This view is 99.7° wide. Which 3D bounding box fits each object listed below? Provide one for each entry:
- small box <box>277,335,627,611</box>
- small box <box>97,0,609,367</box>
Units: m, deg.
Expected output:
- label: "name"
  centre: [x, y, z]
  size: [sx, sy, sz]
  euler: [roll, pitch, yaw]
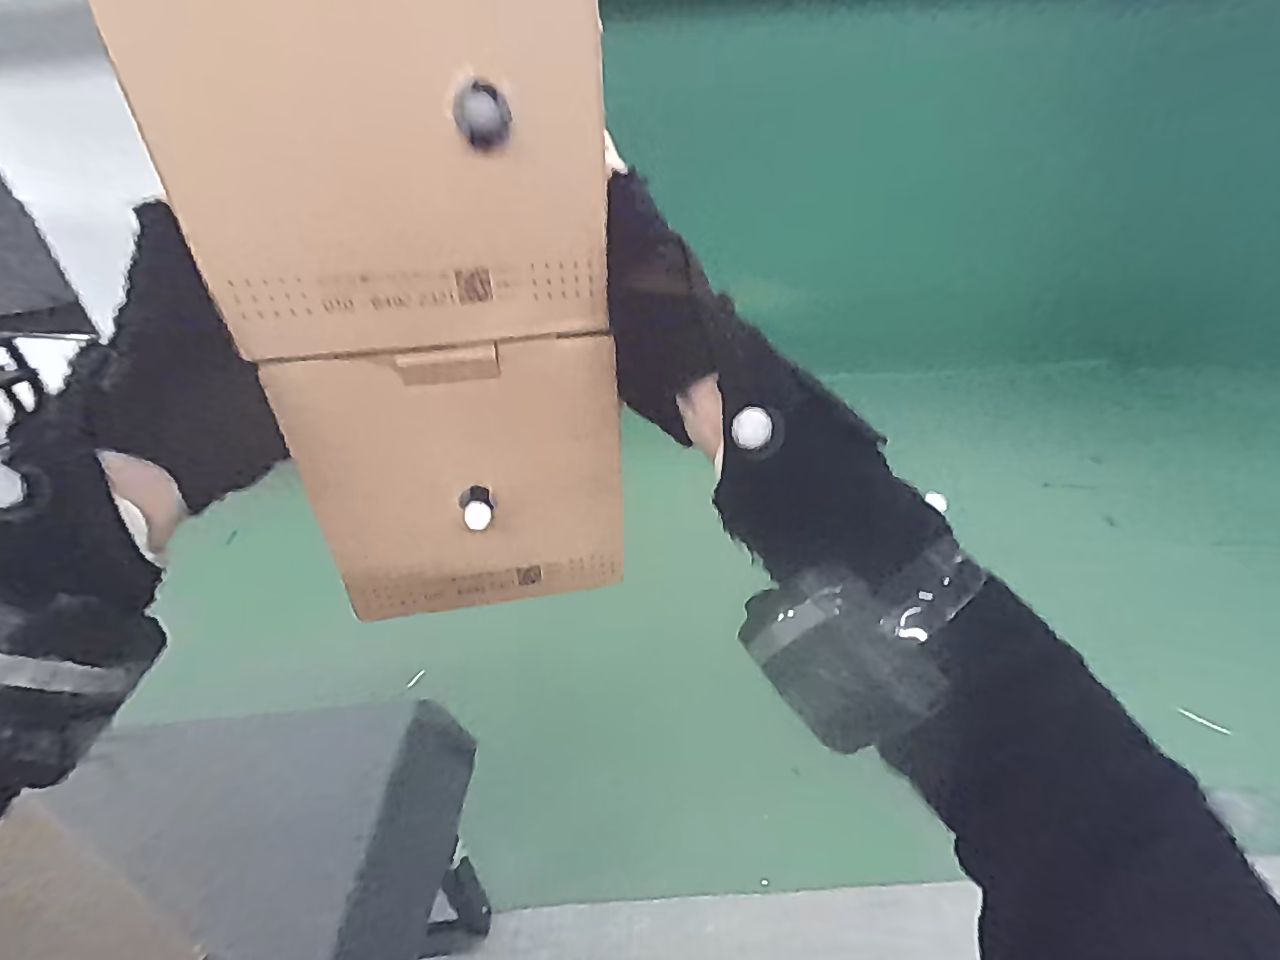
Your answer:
- label: "small box"
  centre: [-0.103, -0.027, 0.374]
  size: [0.168, 0.176, 0.179]
  euler: [-6, 34, -9]
- label: "small box"
  centre: [-0.110, -0.163, 0.284]
  size: [0.168, 0.176, 0.179]
  euler: [-6, 32, -10]
